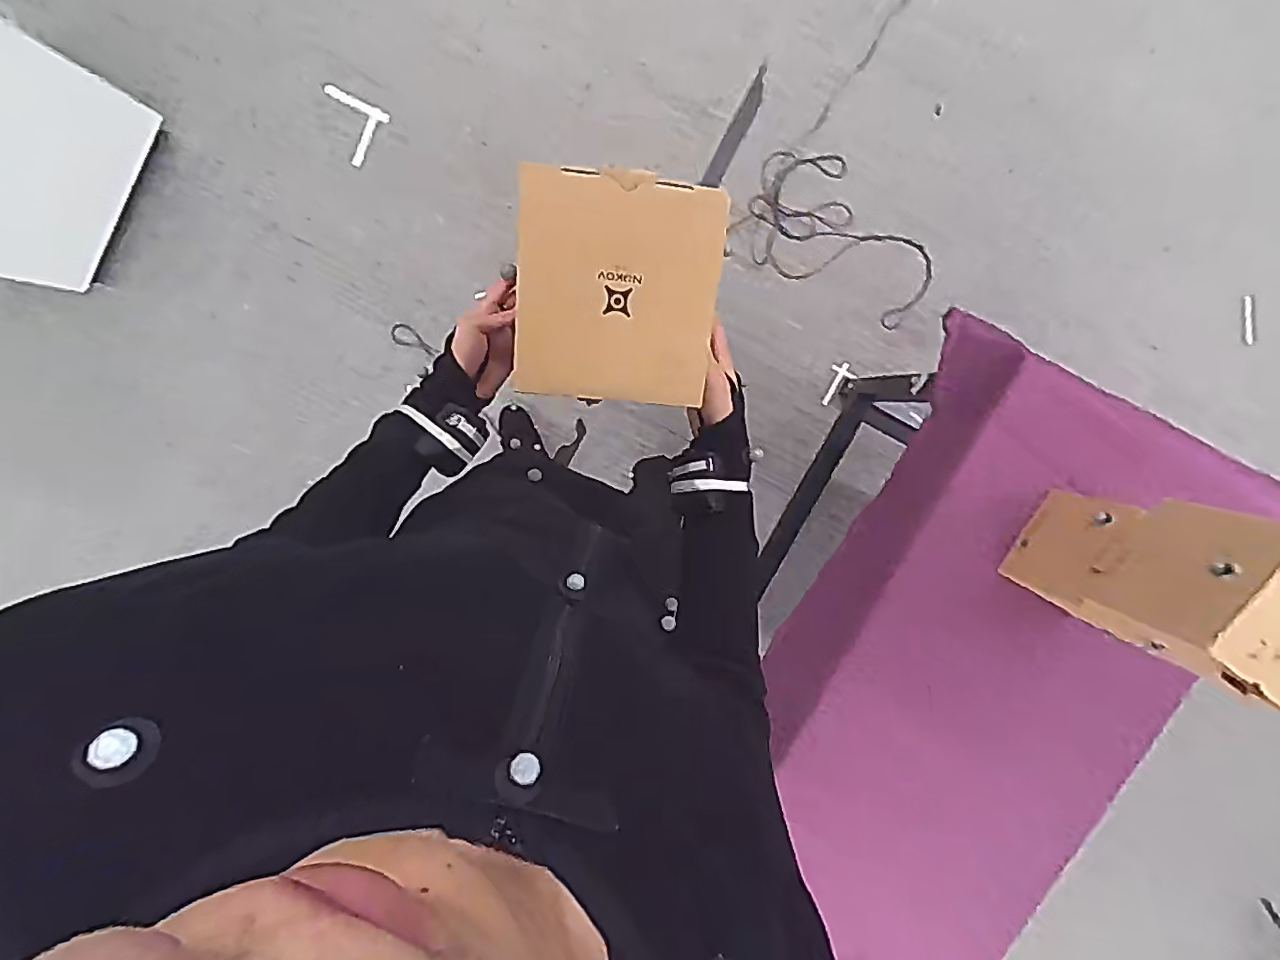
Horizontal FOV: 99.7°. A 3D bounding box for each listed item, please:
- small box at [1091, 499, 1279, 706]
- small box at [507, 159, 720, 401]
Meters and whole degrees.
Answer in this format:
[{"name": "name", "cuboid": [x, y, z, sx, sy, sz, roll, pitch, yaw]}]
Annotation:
[{"name": "small box", "cuboid": [0.744, 0.145, 0.687, 0.168, 0.176, 0.179, 35, 96, -7]}, {"name": "small box", "cuboid": [-0.032, -0.182, 0.521, 0.168, 0.176, 0.179, 3, 107, -7]}]
